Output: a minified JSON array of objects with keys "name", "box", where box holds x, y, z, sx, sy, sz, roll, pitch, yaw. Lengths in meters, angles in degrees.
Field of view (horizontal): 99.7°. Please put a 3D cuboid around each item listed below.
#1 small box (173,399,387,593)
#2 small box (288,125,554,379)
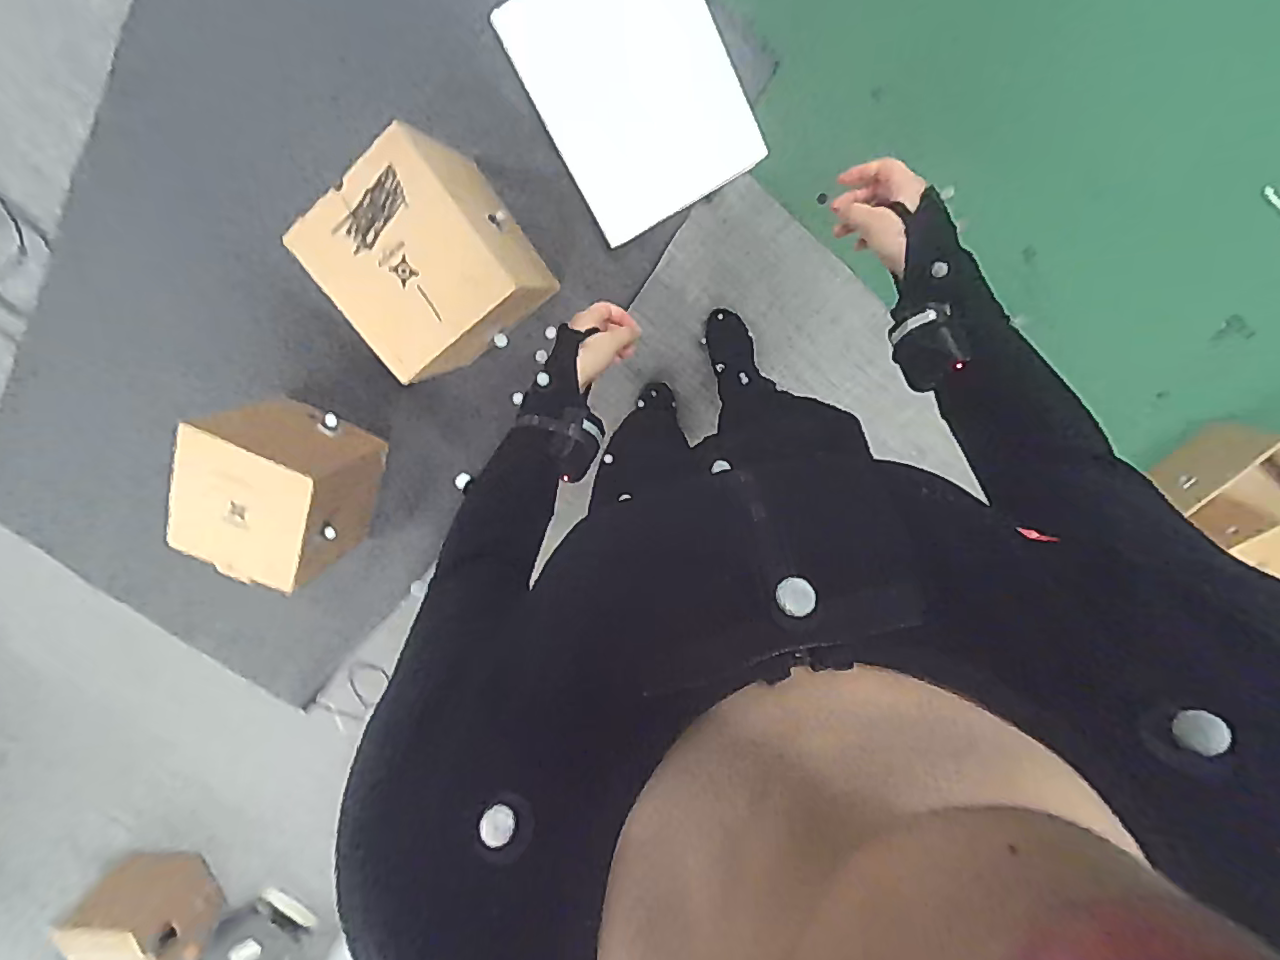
[{"name":"small box","box":[-0.469,0.012,0.725,0.168,0.176,0.179,22,110,-3]},{"name":"small box","box":[-0.224,-0.239,0.600,0.168,0.176,0.179,-33,103,17]}]
